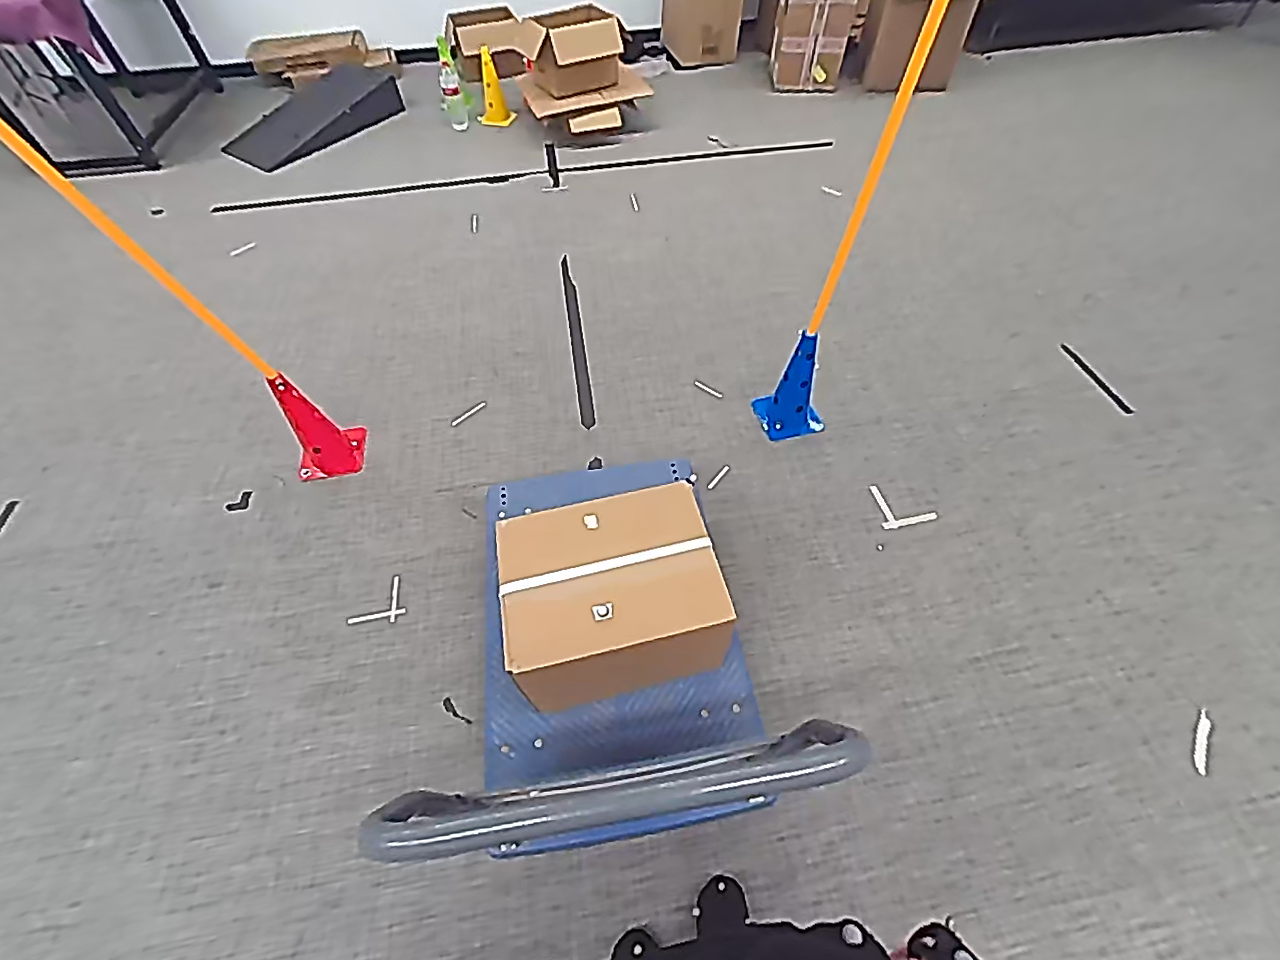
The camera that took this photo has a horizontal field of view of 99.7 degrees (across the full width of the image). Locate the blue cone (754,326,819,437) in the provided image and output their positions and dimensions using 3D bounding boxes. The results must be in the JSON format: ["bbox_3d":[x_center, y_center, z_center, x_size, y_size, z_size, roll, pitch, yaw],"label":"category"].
[{"bbox_3d":[0.507,-0.325,1.745,0.193,0.380,0.192,-12,54,-8],"label":"blue cone"}]
